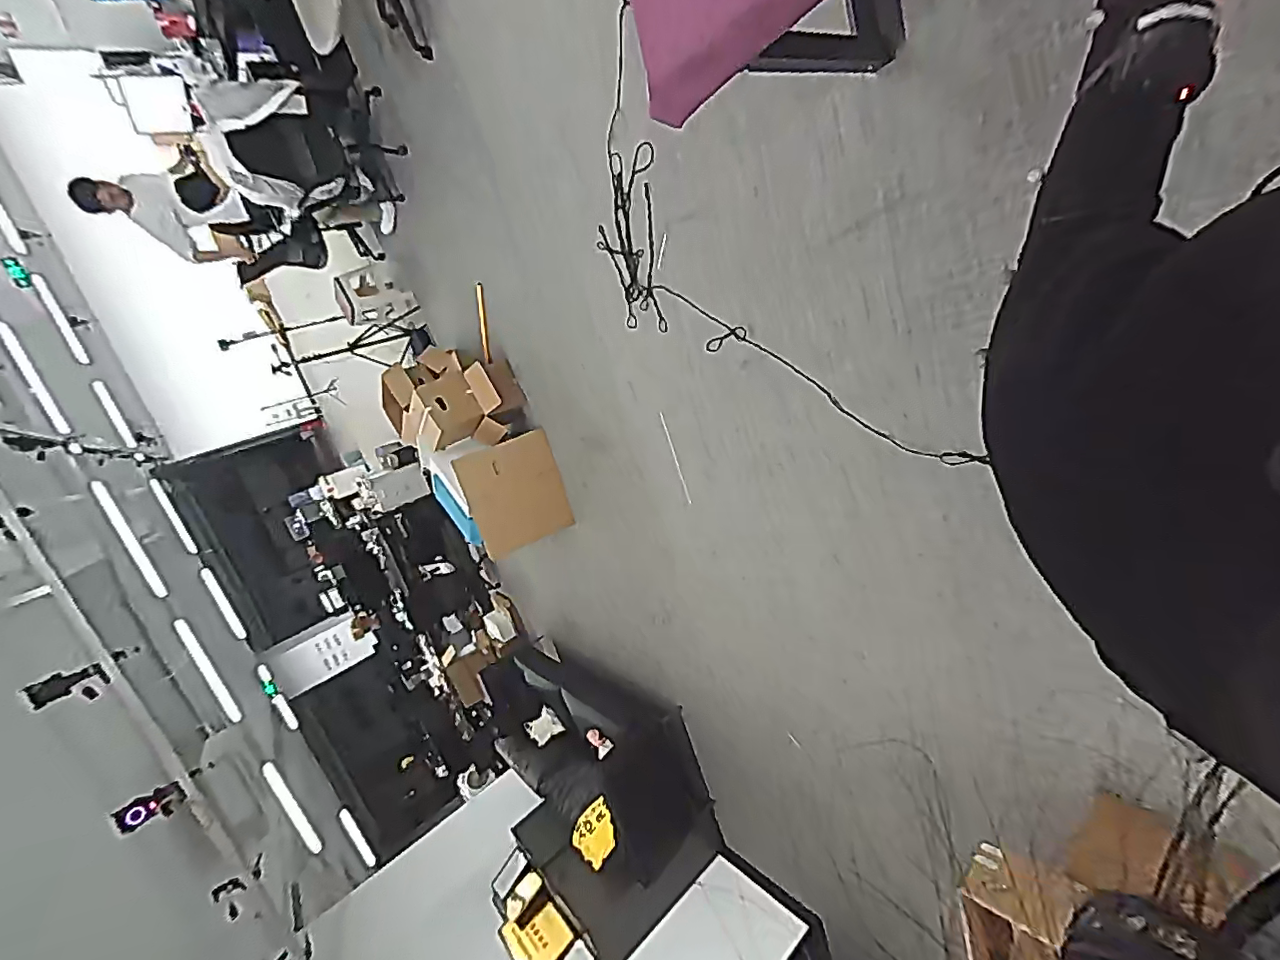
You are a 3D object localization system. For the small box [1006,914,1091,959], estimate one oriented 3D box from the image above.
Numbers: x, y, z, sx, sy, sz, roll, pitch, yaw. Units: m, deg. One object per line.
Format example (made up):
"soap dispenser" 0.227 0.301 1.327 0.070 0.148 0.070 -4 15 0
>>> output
"small box" 1.031 1.266 1.366 0.168 0.176 0.179 16 125 47
